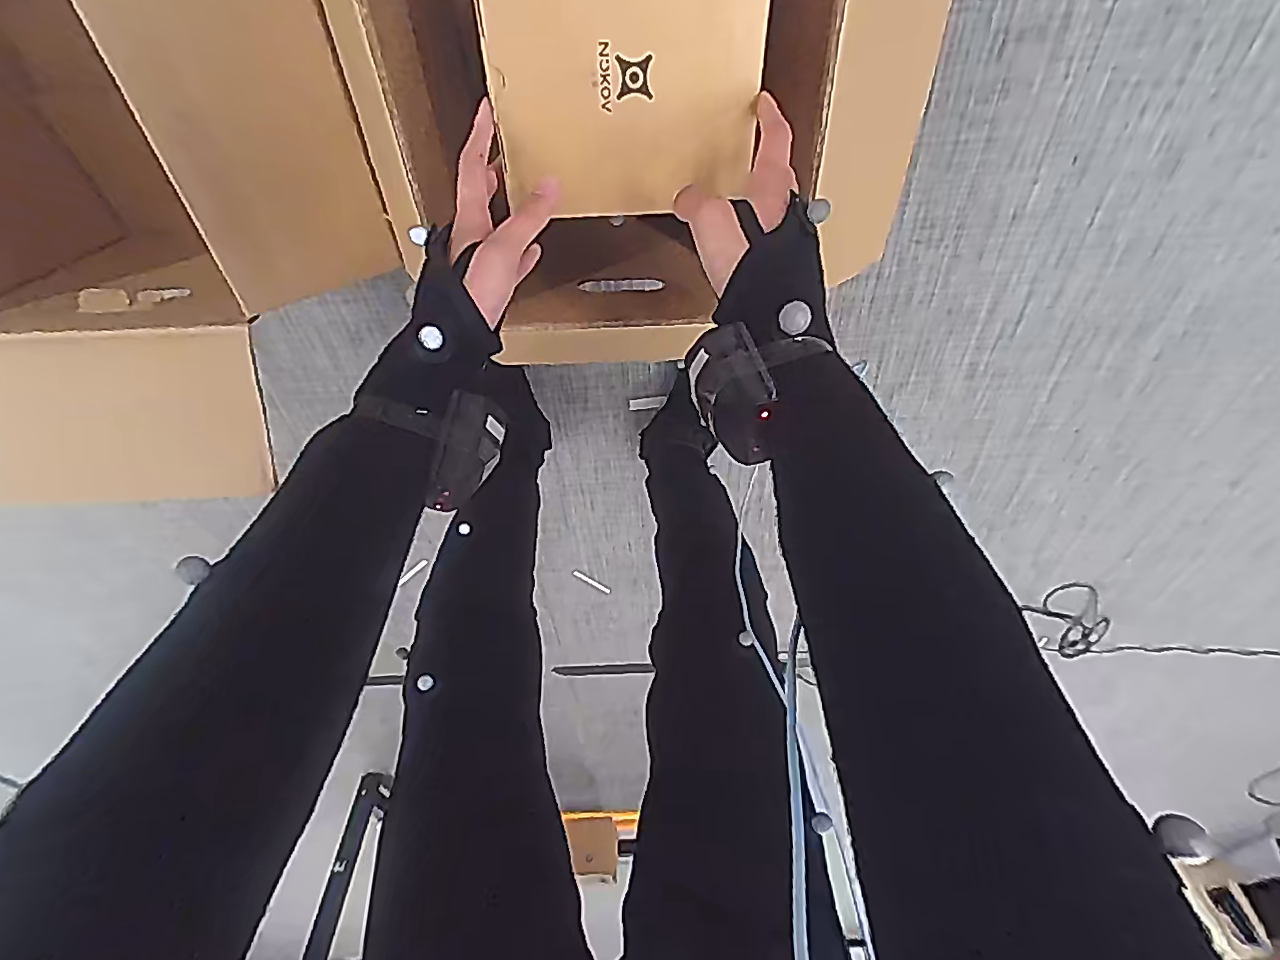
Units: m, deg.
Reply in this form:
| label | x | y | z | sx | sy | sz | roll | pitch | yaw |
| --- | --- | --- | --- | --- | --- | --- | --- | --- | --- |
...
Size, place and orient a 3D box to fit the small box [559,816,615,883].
| label | x | y | z | sx | sy | sz | roll | pitch | yaw |
| --- | --- | --- | --- | --- | --- | --- | --- | --- | --- |
| small box | -0.181 | 1.308 | 1.918 | 0.179 | 0.176 | 0.168 | -4 | 132 | 5 |

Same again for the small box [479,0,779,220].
| label | x | y | z | sx | sy | sz | roll | pitch | yaw |
| --- | --- | --- | --- | --- | --- | --- | --- | --- | --- |
| small box | -0.011 | -0.305 | 0.391 | 0.179 | 0.176 | 0.168 | -3 | 134 | -2 |
